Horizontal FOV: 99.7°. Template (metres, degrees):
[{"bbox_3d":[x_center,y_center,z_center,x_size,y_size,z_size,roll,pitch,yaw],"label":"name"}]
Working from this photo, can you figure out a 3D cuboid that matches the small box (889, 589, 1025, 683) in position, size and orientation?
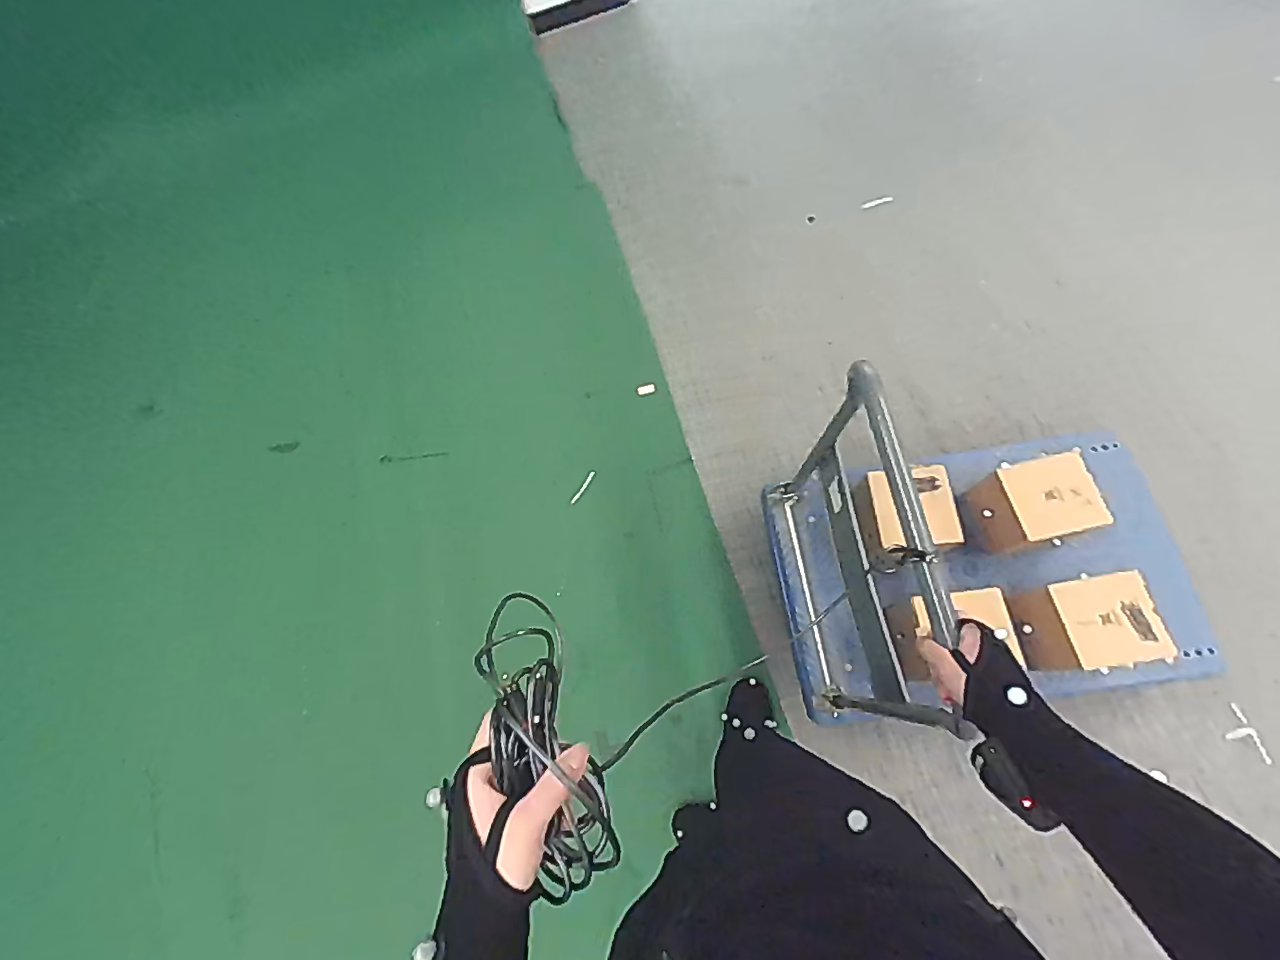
[{"bbox_3d":[0.653,0.330,1.137,0.179,0.176,0.168,-9,69,6],"label":"small box"}]

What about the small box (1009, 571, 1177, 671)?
[{"bbox_3d":[0.914,0.293,1.112,0.179,0.176,0.168,-12,69,5],"label":"small box"}]

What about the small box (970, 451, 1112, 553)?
[{"bbox_3d":[0.870,0.056,1.201,0.179,0.176,0.168,-13,70,4],"label":"small box"}]
